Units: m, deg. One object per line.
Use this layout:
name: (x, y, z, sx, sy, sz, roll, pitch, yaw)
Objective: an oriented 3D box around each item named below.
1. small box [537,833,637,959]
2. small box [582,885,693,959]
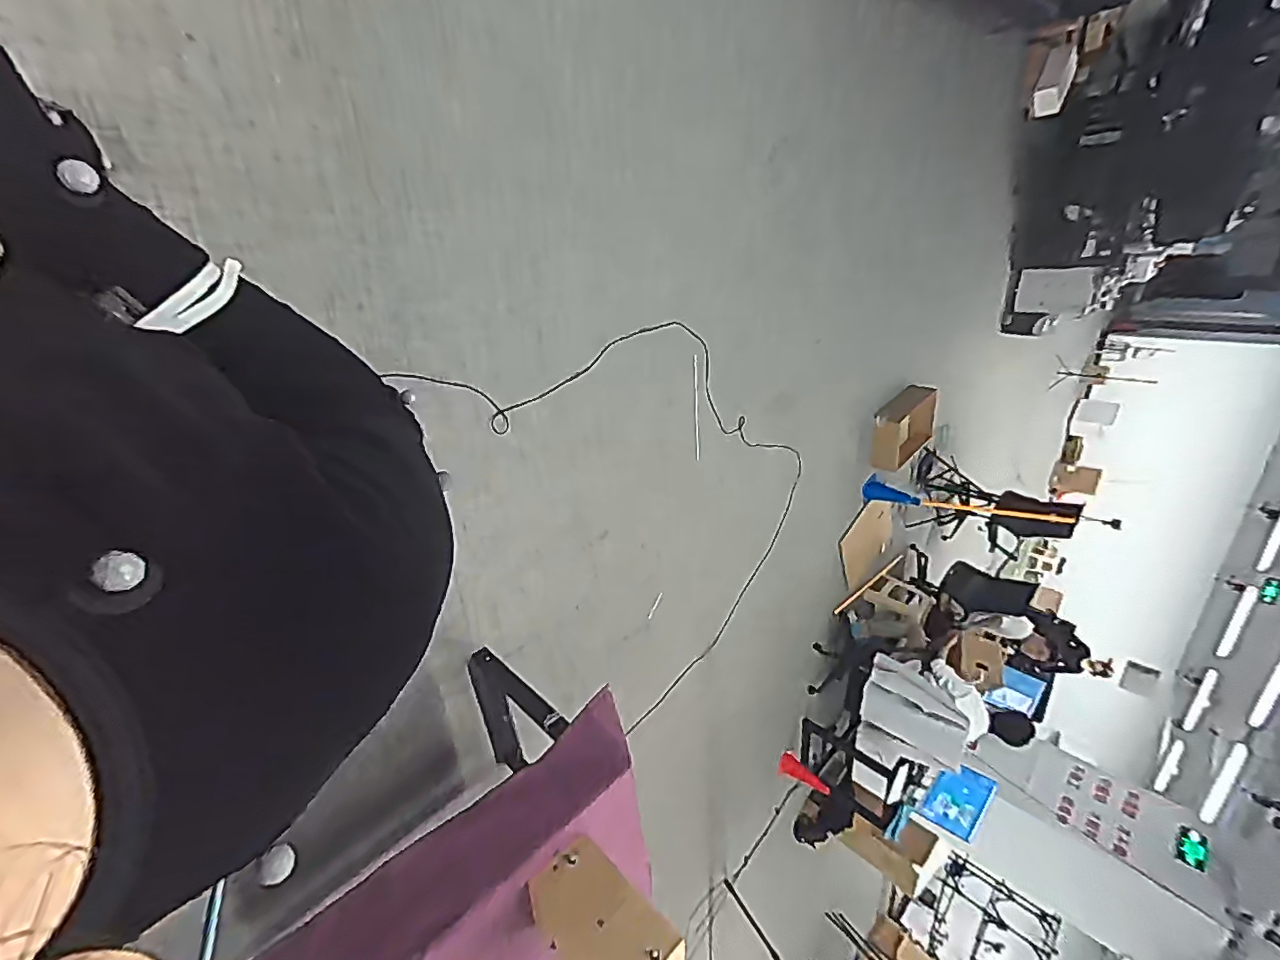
small box: (-0.120, 0.980, 1.257, 0.168, 0.176, 0.179, -21, 118, -39)
small box: (-0.006, 1.020, 1.144, 0.168, 0.176, 0.179, -22, 120, -40)
